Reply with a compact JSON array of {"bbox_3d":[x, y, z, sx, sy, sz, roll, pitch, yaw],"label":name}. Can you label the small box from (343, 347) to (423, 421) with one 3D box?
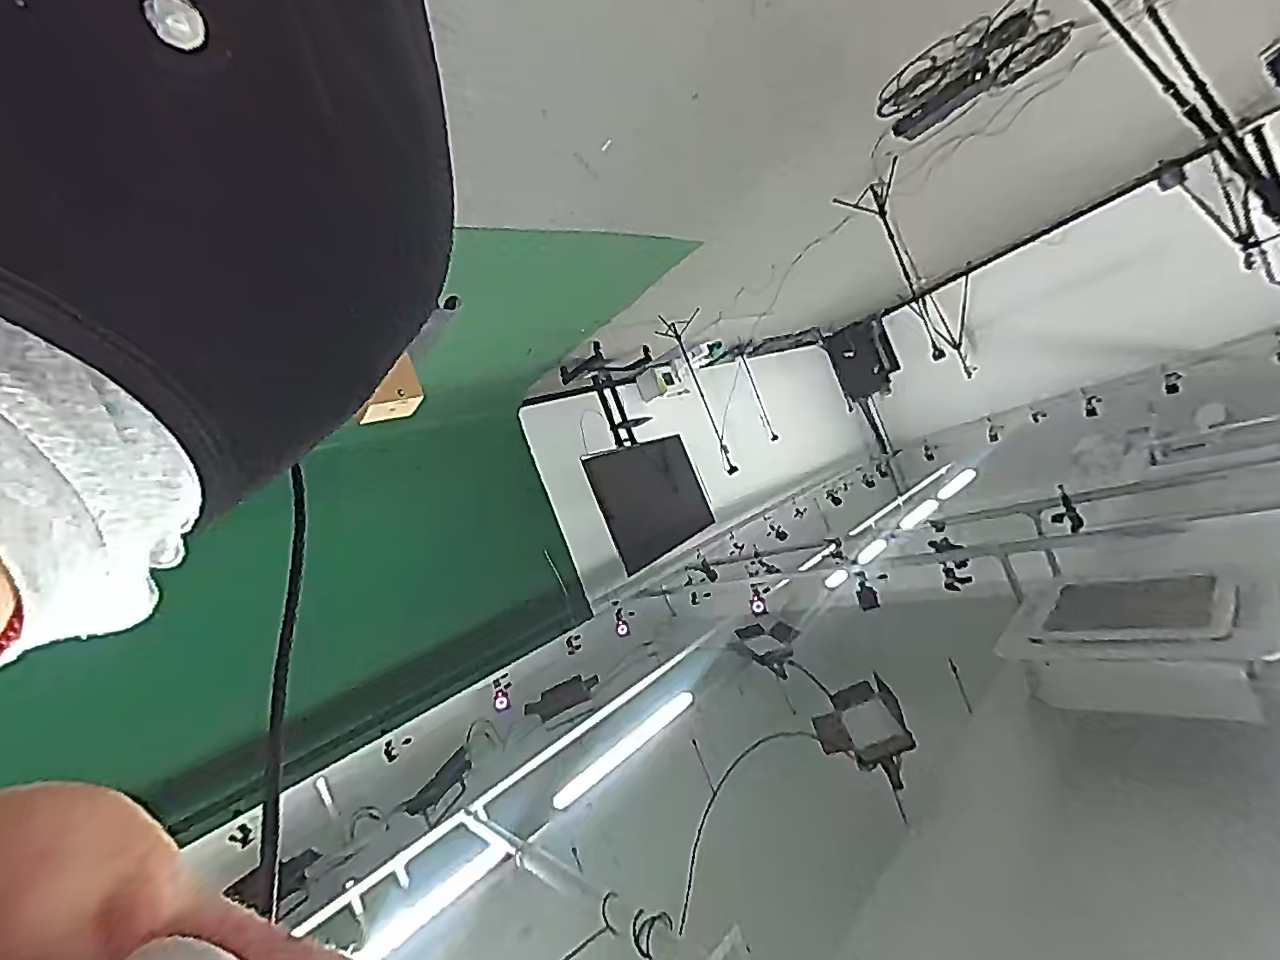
[{"bbox_3d":[-0.815,-0.303,1.705,0.168,0.176,0.179,-22,-179,-38],"label":"small box"}]
